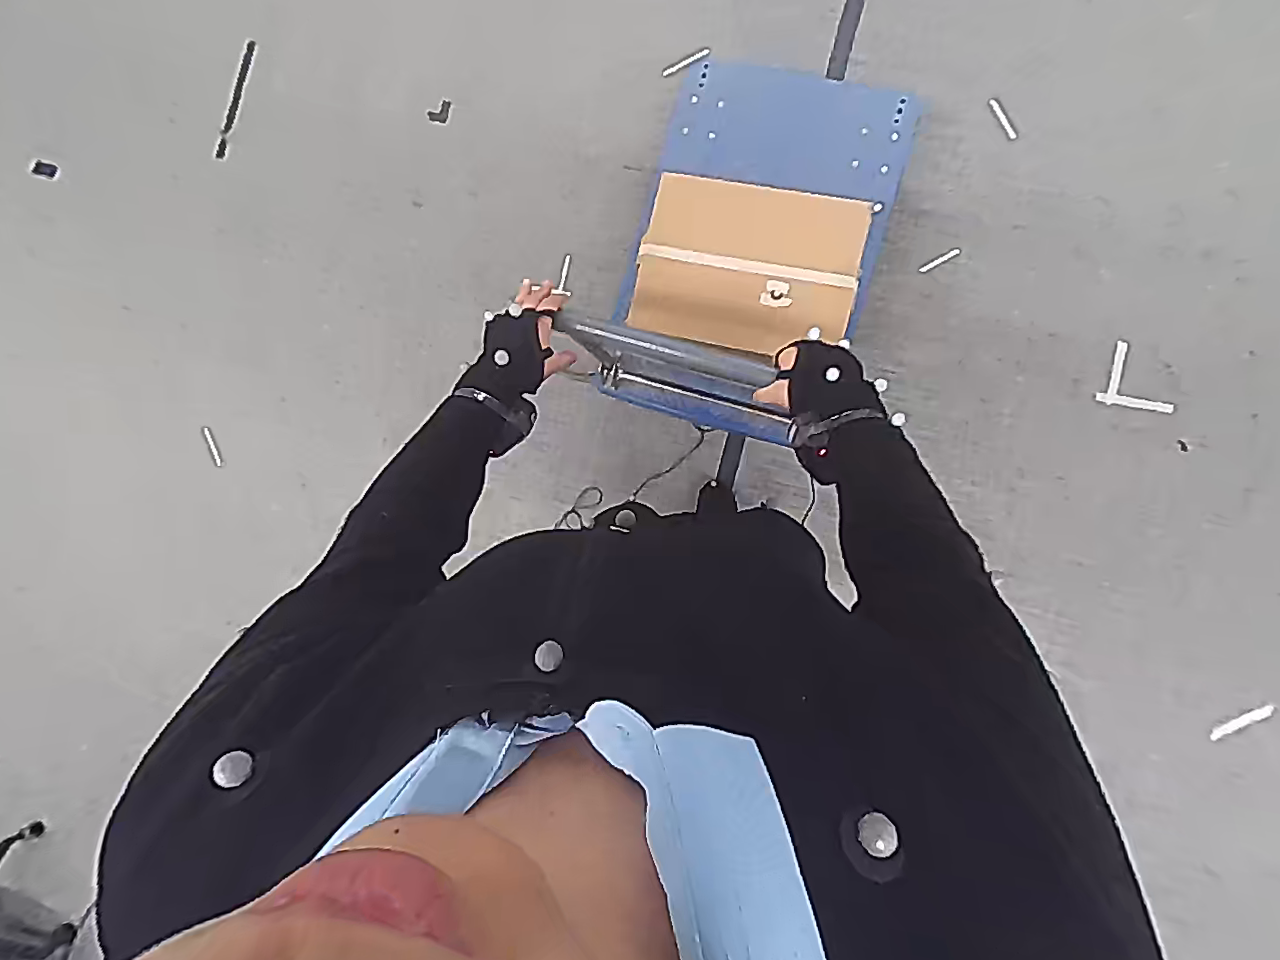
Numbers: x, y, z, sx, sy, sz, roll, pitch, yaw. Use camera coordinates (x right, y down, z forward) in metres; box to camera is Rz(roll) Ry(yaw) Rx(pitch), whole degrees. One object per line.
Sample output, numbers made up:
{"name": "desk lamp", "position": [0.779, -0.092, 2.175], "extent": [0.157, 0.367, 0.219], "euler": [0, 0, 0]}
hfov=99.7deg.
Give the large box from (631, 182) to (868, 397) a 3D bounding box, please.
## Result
{"name": "large box", "position": [0.222, -0.392, 1.181], "extent": [0.408, 0.320, 0.320], "euler": [13, 90, 8]}
